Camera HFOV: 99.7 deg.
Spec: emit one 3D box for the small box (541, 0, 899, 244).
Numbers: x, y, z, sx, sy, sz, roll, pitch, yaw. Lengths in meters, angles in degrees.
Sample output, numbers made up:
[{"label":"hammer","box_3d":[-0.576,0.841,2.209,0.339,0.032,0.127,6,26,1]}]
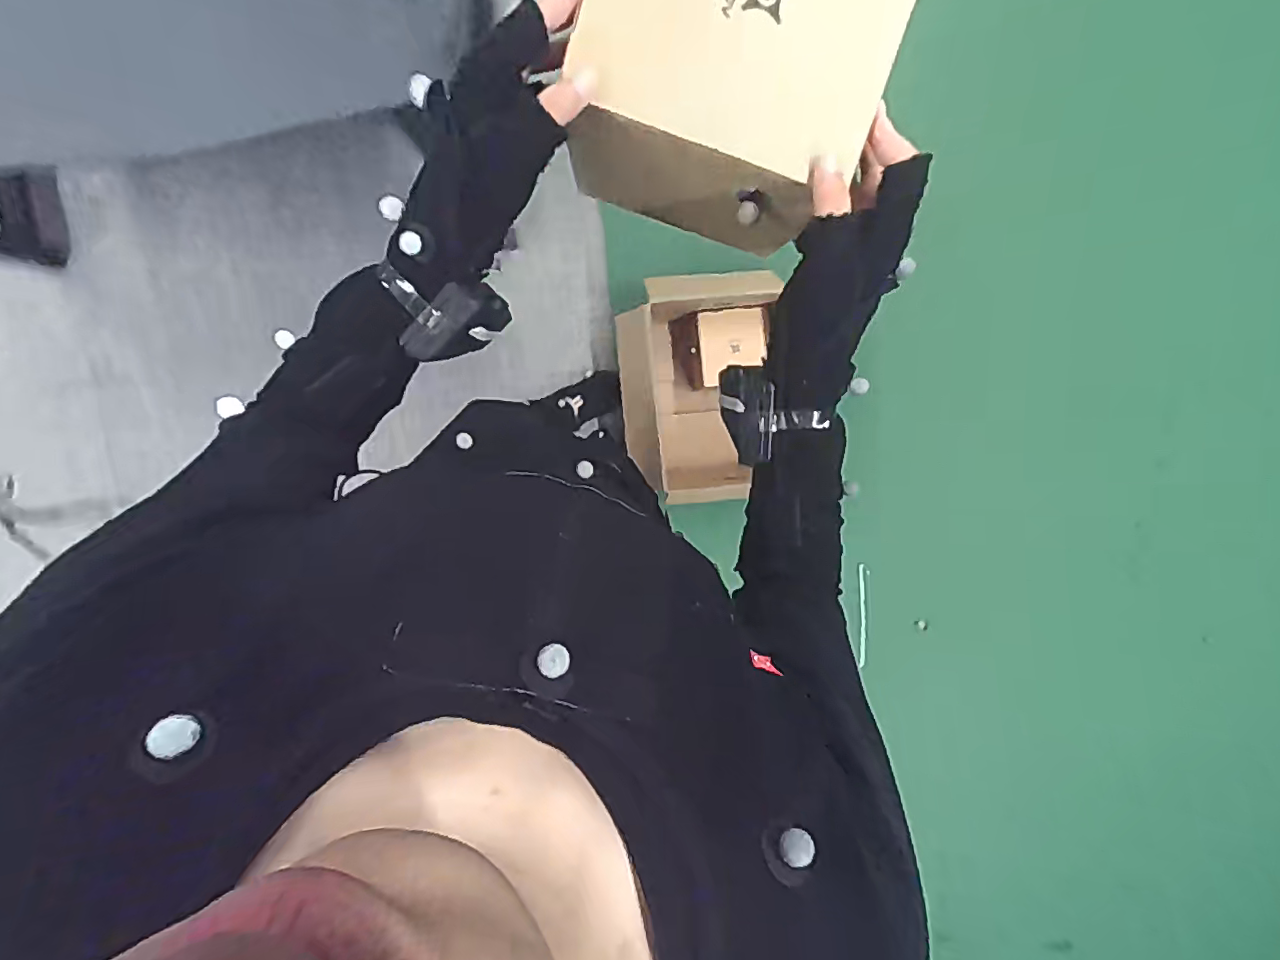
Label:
[{"label":"small box","box_3d":[0.047,-0.279,0.368,0.179,0.176,0.168,16,100,-5]}]
